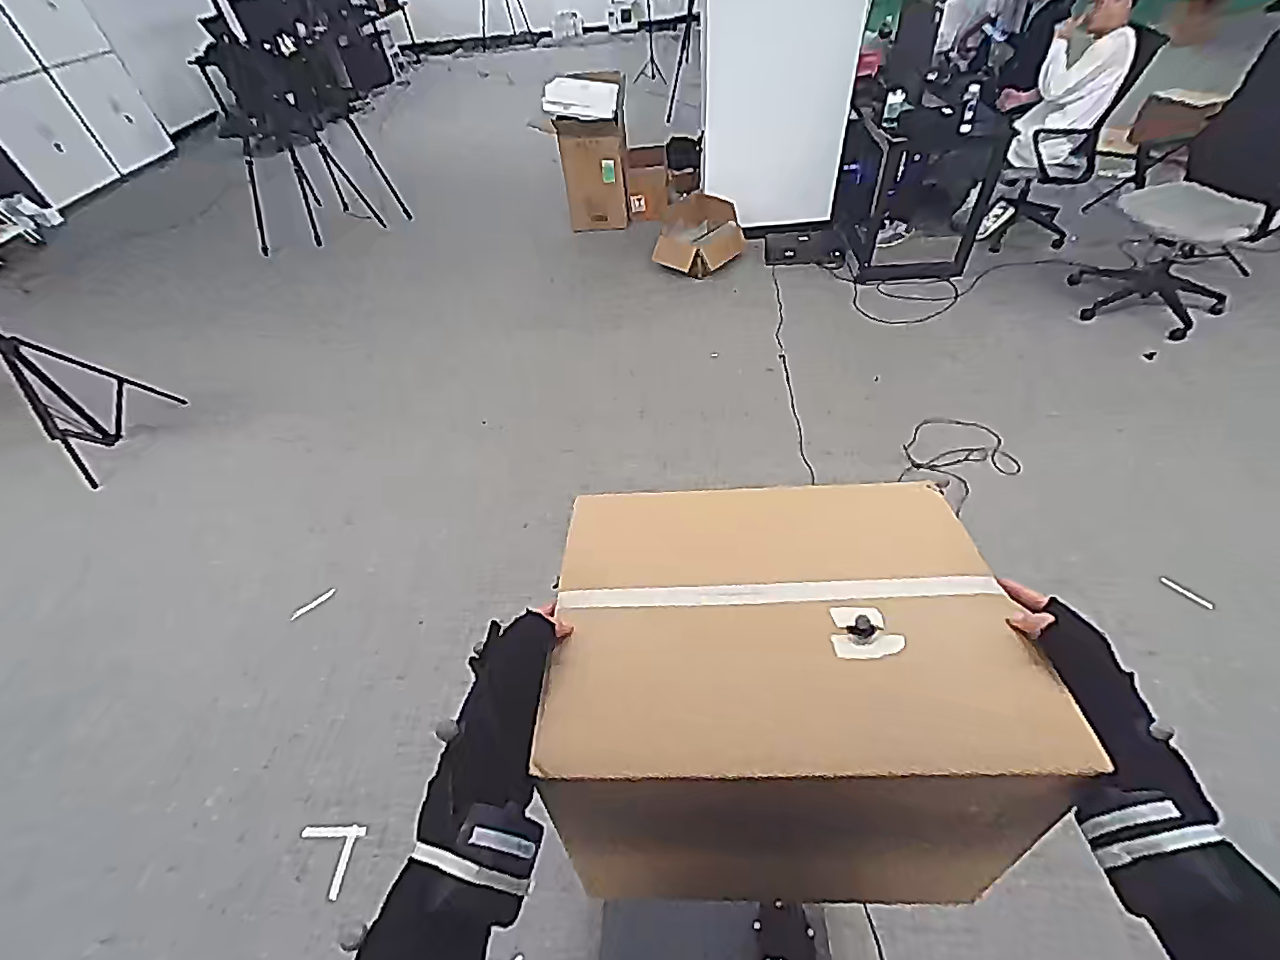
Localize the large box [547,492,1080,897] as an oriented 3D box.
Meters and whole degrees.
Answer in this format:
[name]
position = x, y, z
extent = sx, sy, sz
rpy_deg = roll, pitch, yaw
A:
[large box]
position = 0.136, 0.234, 0.608
extent = 0.408, 0.320, 0.320
rpy_deg = -2, 39, 4
